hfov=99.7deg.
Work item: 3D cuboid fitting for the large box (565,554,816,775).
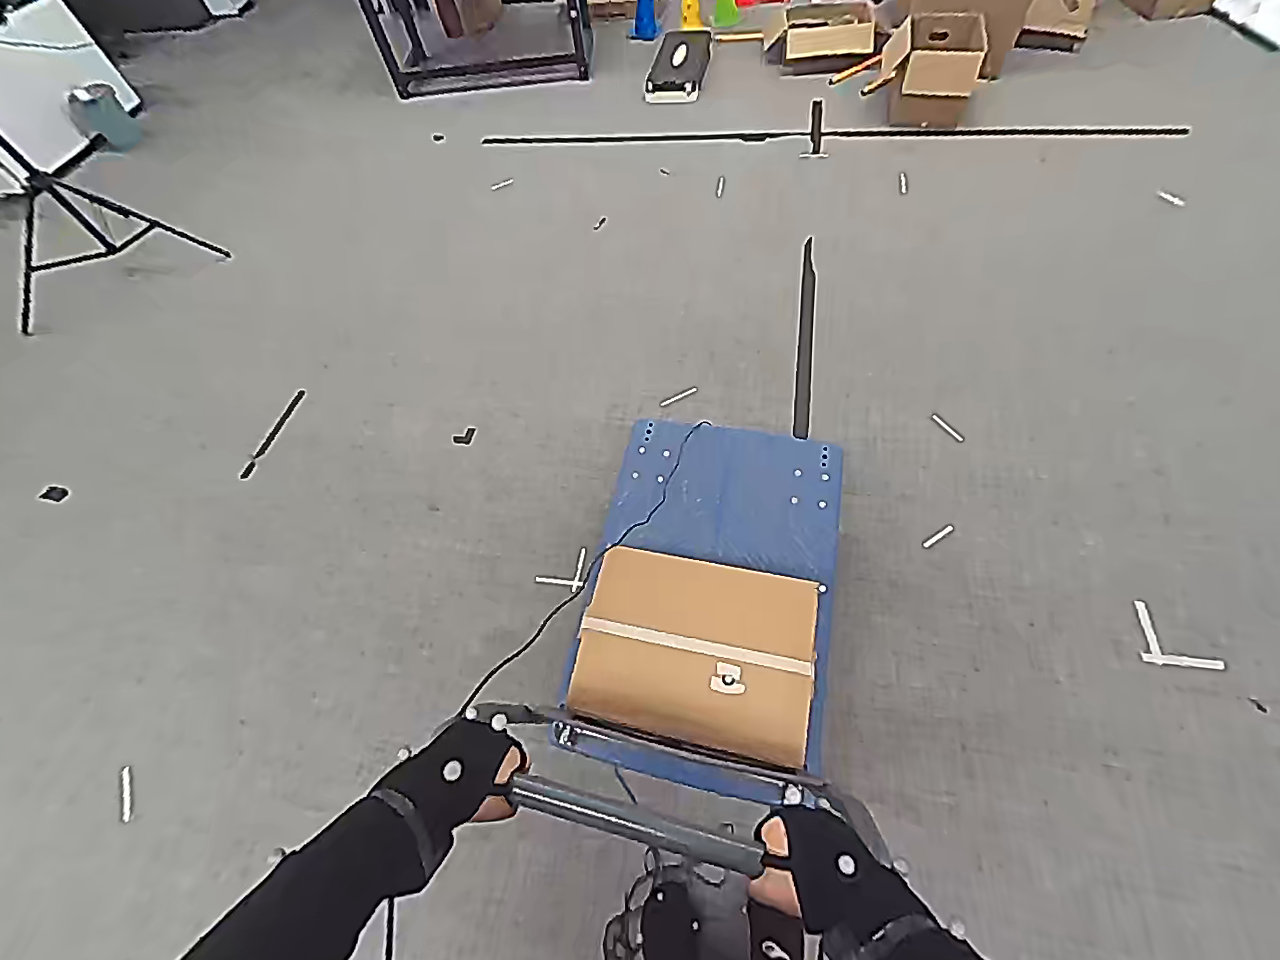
[{"bbox_3d":[0.107,0.371,1.073,0.408,0.320,0.320,9,64,11],"label":"large box"}]
